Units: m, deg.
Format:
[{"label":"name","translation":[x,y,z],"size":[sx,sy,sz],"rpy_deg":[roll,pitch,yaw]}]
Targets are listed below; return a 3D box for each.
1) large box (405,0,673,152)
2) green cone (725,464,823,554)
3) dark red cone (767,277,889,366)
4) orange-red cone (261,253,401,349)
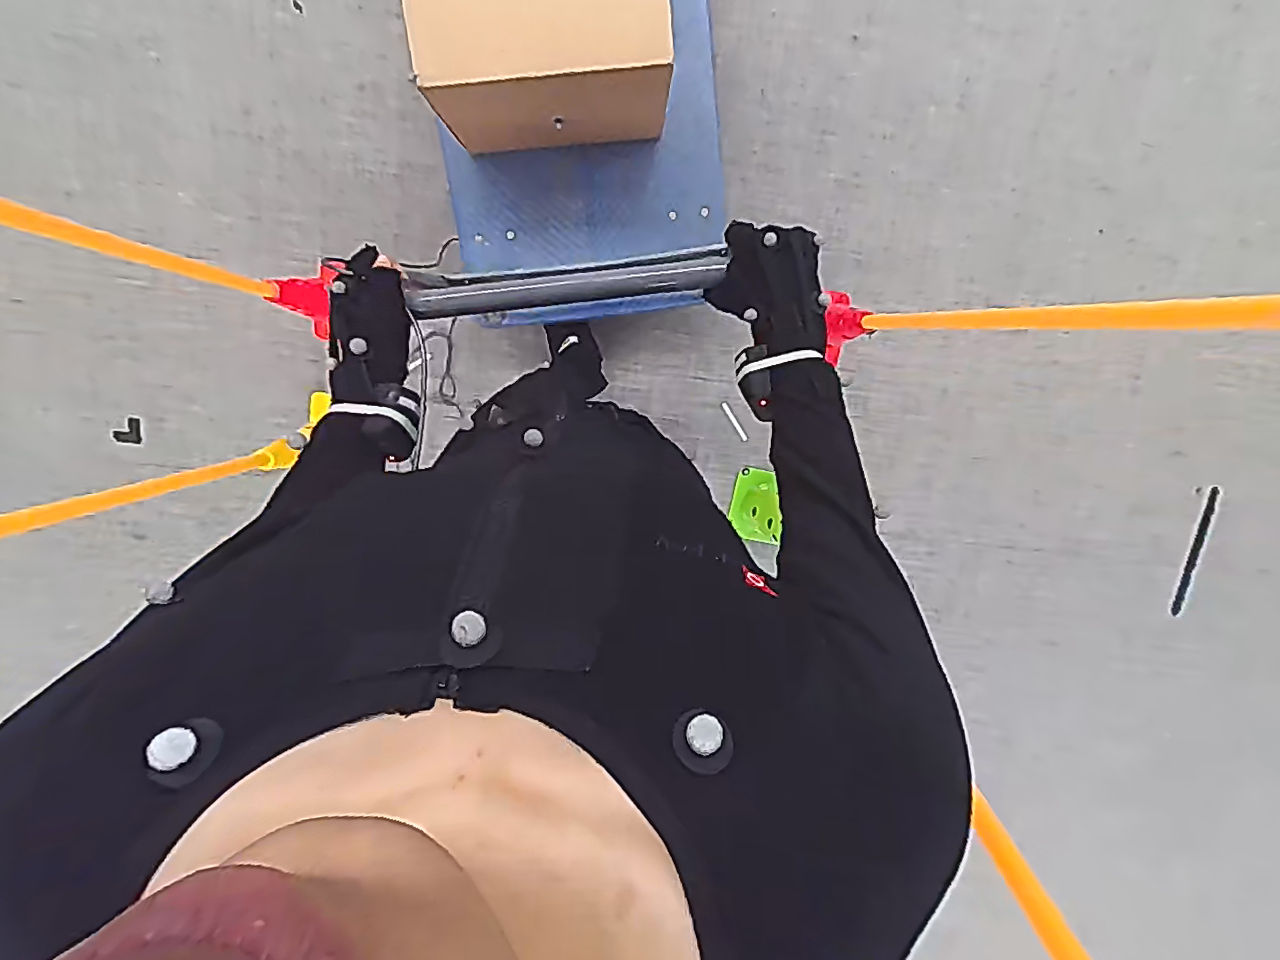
[{"label":"large box","translation":[-0.163,-0.811,0.950],"size":[0.408,0.320,0.320],"rpy_deg":[-5,104,0]},{"label":"green cone","translation":[0.355,0.103,1.324],"size":[0.202,0.368,0.200],"rpy_deg":[10,102,-5]},{"label":"dark red cone","translation":[0.436,-0.360,1.202],"size":[0.201,0.394,0.202],"rpy_deg":[6,103,-5]},{"label":"orange-red cone","translation":[-0.697,-0.407,1.175],"size":[0.198,0.360,0.199],"rpy_deg":[14,101,-6]}]
